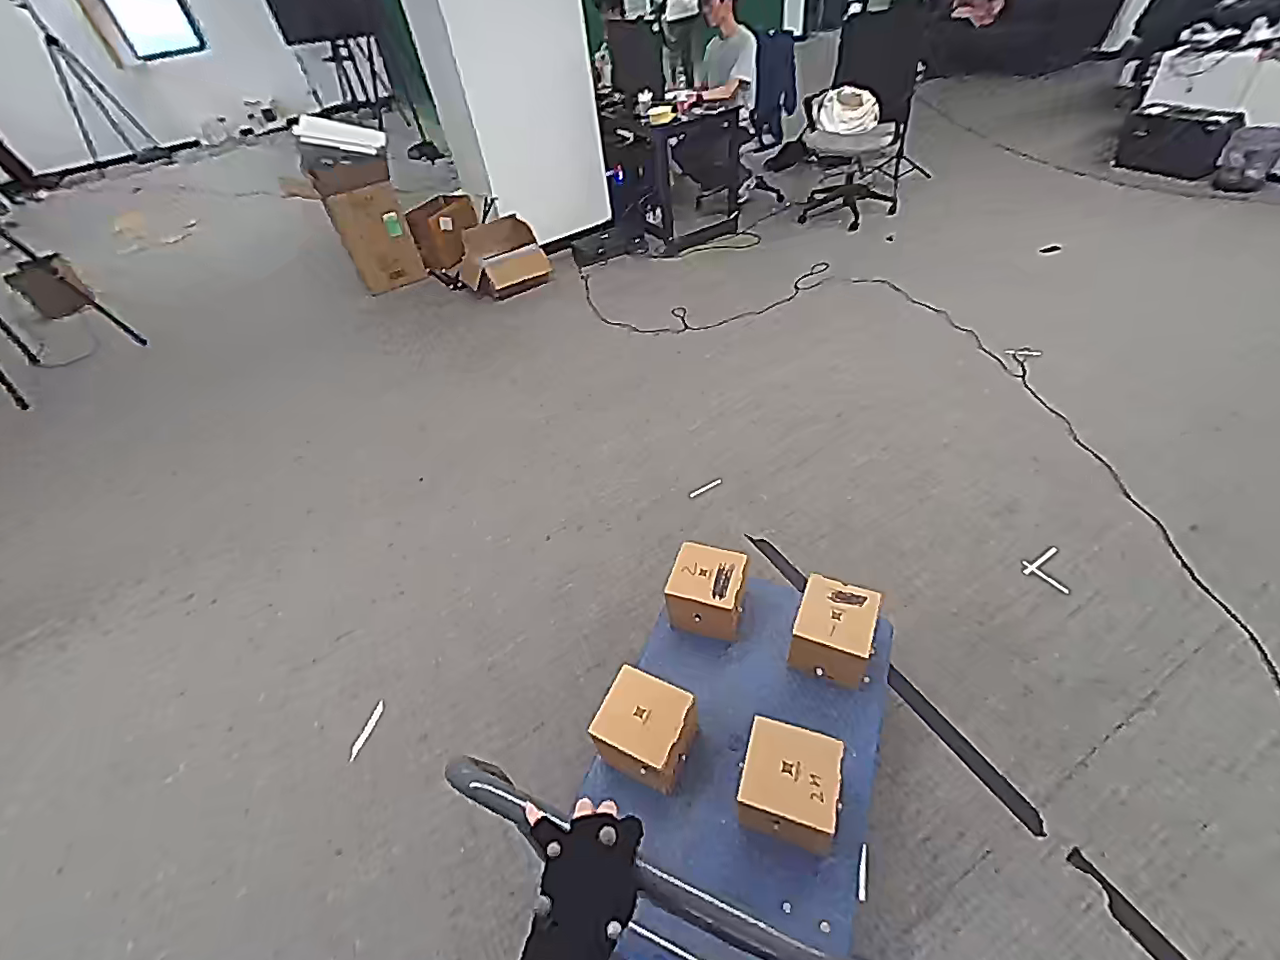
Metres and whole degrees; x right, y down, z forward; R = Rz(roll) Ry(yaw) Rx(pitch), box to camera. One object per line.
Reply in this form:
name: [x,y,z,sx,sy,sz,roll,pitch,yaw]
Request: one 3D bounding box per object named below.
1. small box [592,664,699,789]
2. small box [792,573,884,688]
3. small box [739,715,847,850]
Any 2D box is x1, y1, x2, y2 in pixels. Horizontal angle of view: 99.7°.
small box: [0.019,0.544,1.188,0.179,0.176,0.168,17,50,23]
small box: [0.467,0.359,1.289,0.168,0.176,0.179,14,51,23]
small box: [0.301,0.603,1.075,0.179,0.176,0.168,10,48,20]
